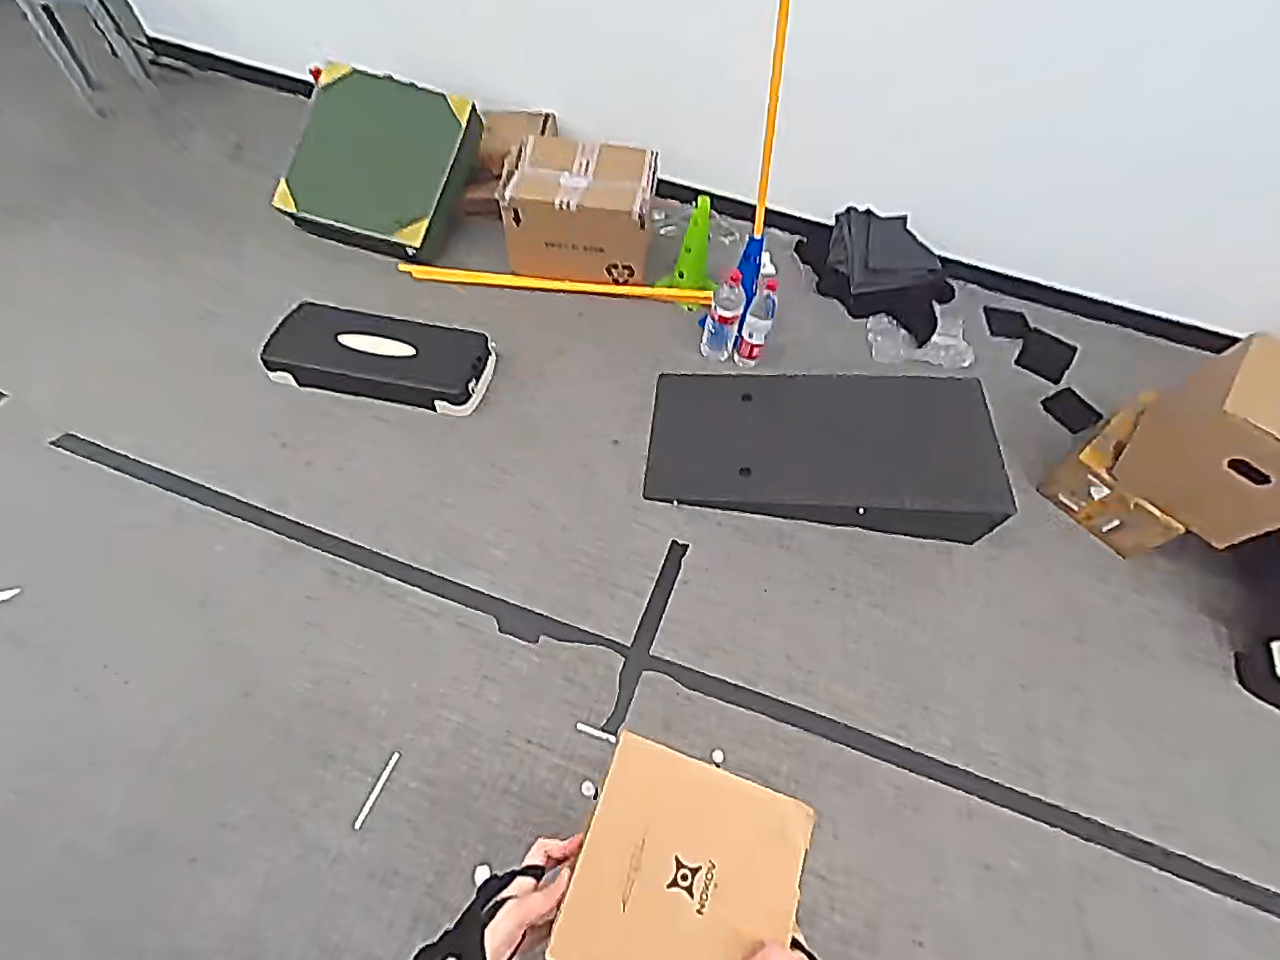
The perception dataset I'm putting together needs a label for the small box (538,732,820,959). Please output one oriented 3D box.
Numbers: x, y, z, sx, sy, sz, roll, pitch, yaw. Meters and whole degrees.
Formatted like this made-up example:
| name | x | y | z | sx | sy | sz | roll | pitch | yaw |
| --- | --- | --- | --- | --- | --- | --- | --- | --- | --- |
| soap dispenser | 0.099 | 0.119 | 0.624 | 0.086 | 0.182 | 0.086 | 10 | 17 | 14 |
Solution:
| name | x | y | z | sx | sy | sz | roll | pitch | yaw |
| --- | --- | --- | --- | --- | --- | --- | --- | --- | --- |
| small box | 0.030 | 0.338 | 0.480 | 0.179 | 0.176 | 0.168 | 21 | 65 | 6 |
